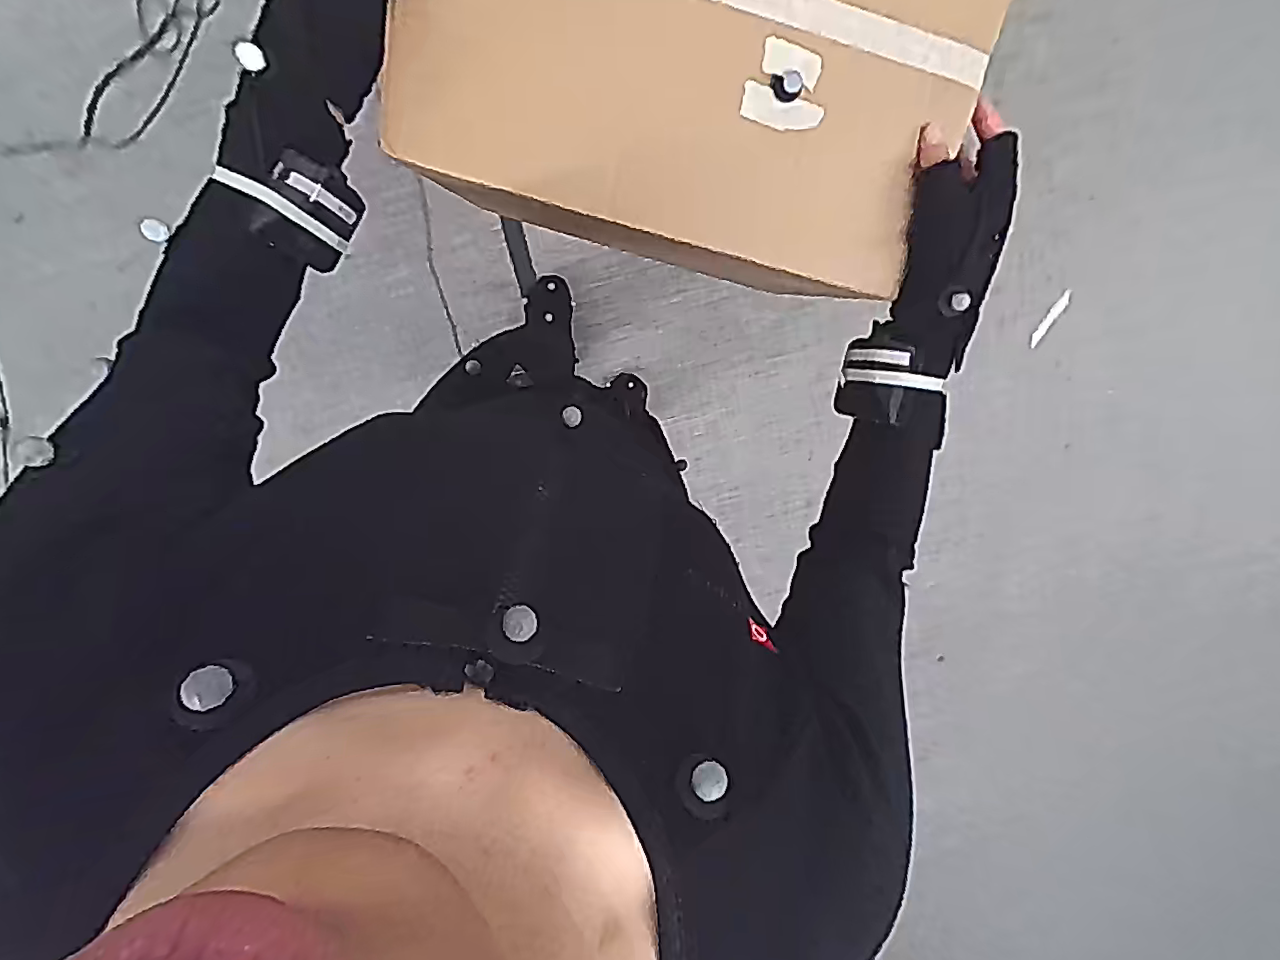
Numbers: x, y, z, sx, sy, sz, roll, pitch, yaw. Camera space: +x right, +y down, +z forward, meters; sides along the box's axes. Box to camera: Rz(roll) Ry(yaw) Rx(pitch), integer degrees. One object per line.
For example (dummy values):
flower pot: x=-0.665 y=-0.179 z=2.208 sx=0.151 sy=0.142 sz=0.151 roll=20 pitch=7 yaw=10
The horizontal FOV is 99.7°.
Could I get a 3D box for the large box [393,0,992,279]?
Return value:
large box: x=0.034 y=-0.390 z=0.504 sx=0.408 sy=0.320 sz=0.320 roll=11 pitch=110 yaw=-8
